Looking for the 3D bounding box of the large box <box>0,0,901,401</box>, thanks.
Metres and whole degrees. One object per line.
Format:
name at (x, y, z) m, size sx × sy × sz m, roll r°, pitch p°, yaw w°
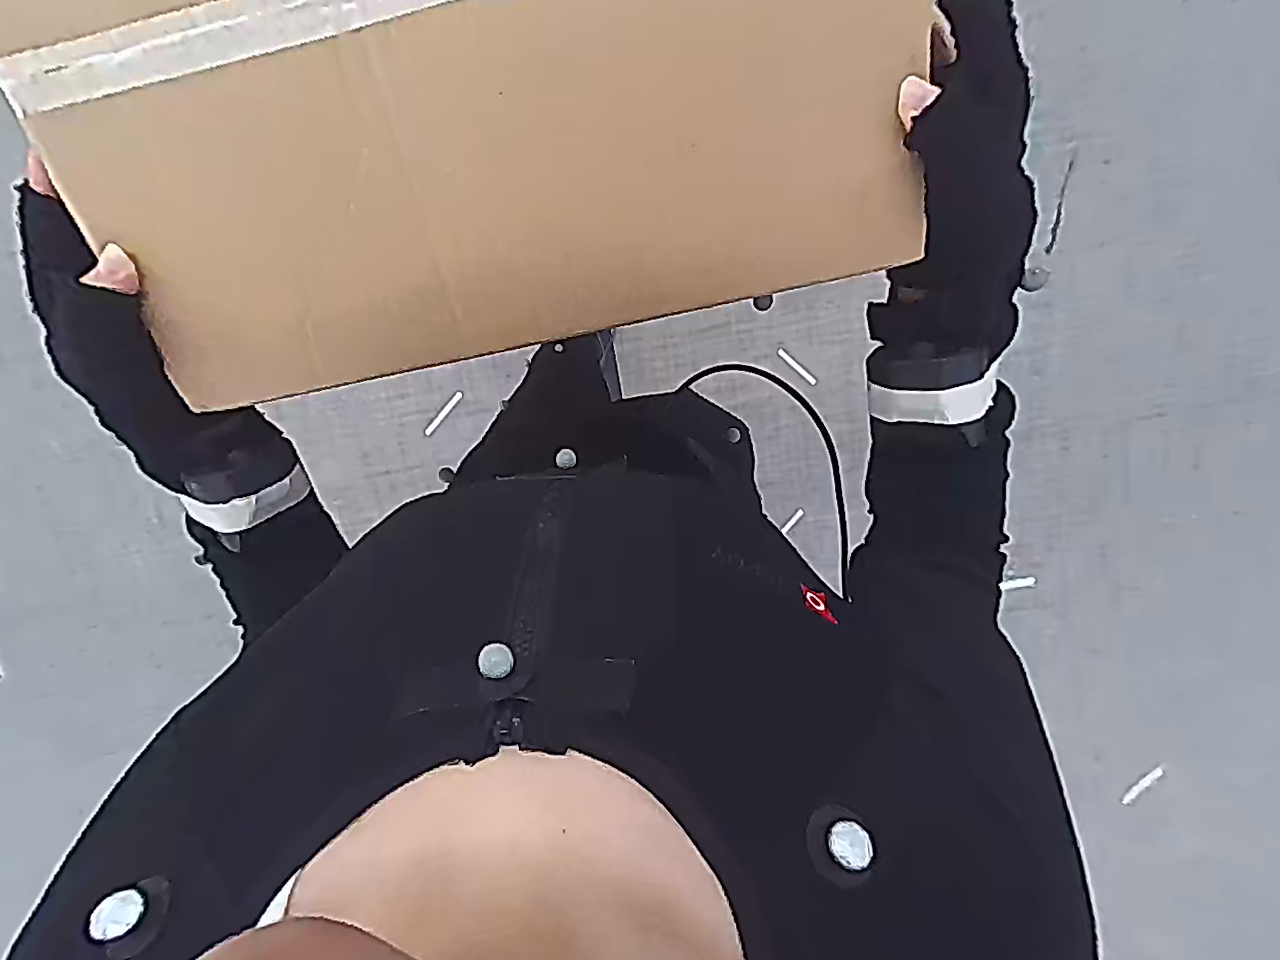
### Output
large box at (-0.088, -0.283, 0.371) m, size 0.408 × 0.320 × 0.320 m, roll -11°, pitch 114°, yaw 6°
